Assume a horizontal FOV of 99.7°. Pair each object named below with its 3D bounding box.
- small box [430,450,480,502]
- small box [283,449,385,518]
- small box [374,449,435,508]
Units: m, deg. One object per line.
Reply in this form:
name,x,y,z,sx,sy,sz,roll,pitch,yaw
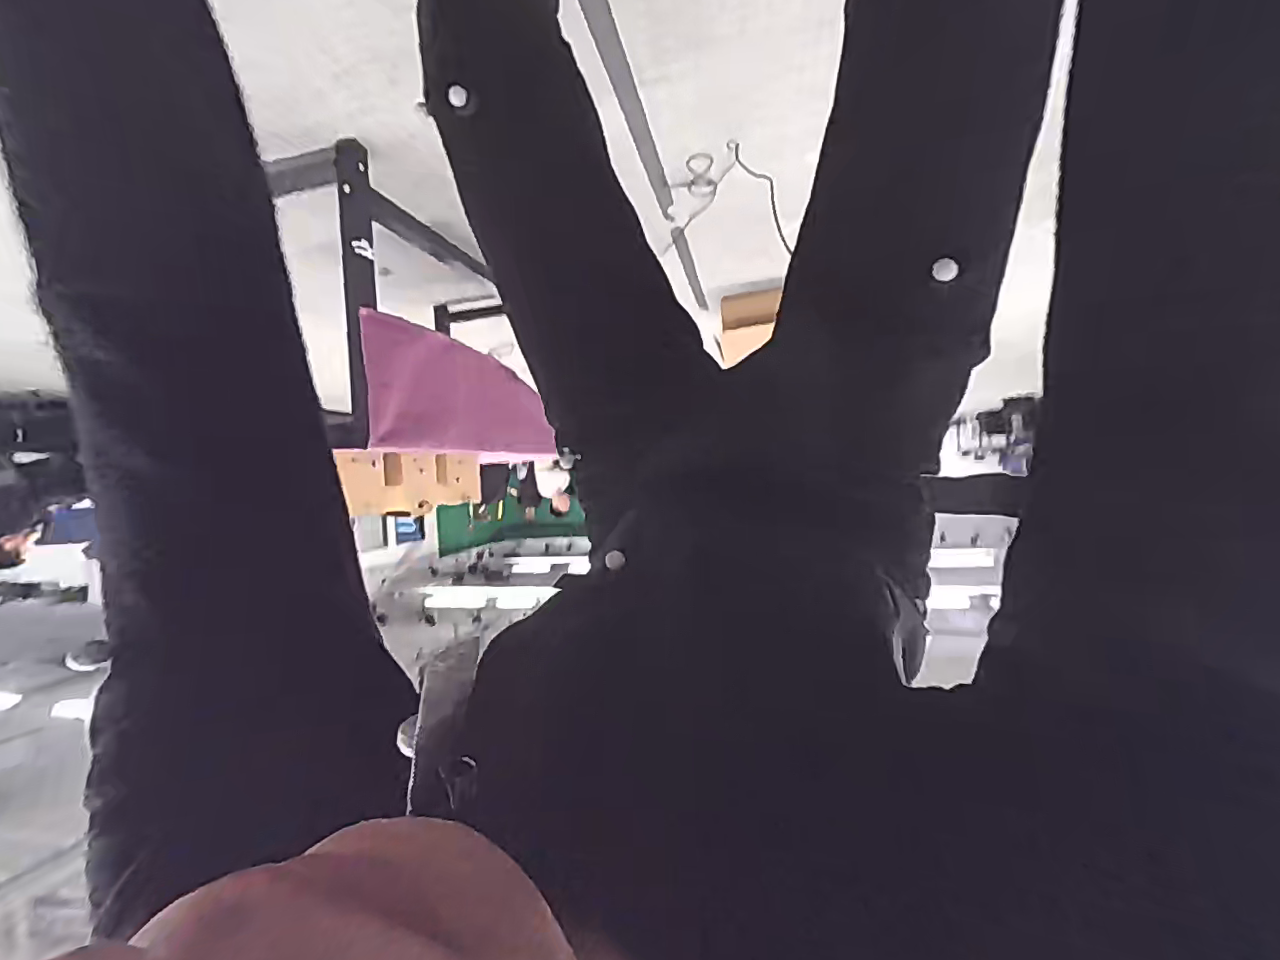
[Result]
small box,-0.685,-0.015,1.878,0.179,0.176,0.168,-3,-179,22
small box,-0.810,0.005,1.428,0.179,0.176,0.168,-2,-178,18
small box,-0.747,-0.004,1.639,0.179,0.176,0.168,-3,-178,12
